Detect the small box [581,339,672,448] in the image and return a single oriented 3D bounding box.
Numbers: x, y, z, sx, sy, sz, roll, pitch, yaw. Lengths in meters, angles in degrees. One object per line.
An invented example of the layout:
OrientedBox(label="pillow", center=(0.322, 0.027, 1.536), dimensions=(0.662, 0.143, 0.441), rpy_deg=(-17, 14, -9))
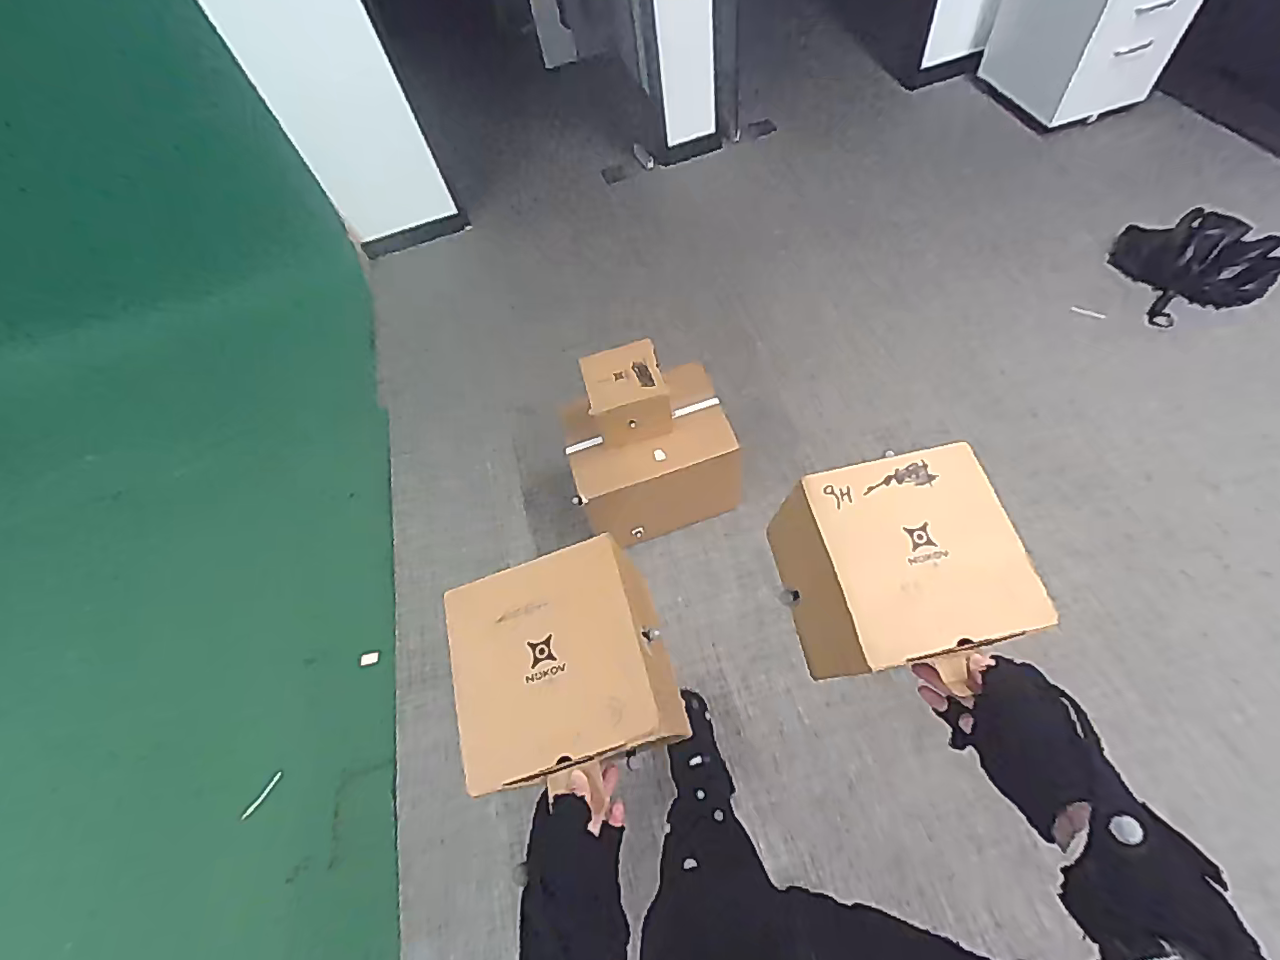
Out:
OrientedBox(label="small box", center=(-0.027, -0.202, 1.299), dimensions=(0.179, 0.176, 0.168), rpy_deg=(-18, 65, -2))

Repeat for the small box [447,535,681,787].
OrientedBox(label="small box", center=(-0.068, 0.183, 0.543), dimensions=(0.168, 0.176, 0.179), rpy_deg=(-21, 61, 3))
